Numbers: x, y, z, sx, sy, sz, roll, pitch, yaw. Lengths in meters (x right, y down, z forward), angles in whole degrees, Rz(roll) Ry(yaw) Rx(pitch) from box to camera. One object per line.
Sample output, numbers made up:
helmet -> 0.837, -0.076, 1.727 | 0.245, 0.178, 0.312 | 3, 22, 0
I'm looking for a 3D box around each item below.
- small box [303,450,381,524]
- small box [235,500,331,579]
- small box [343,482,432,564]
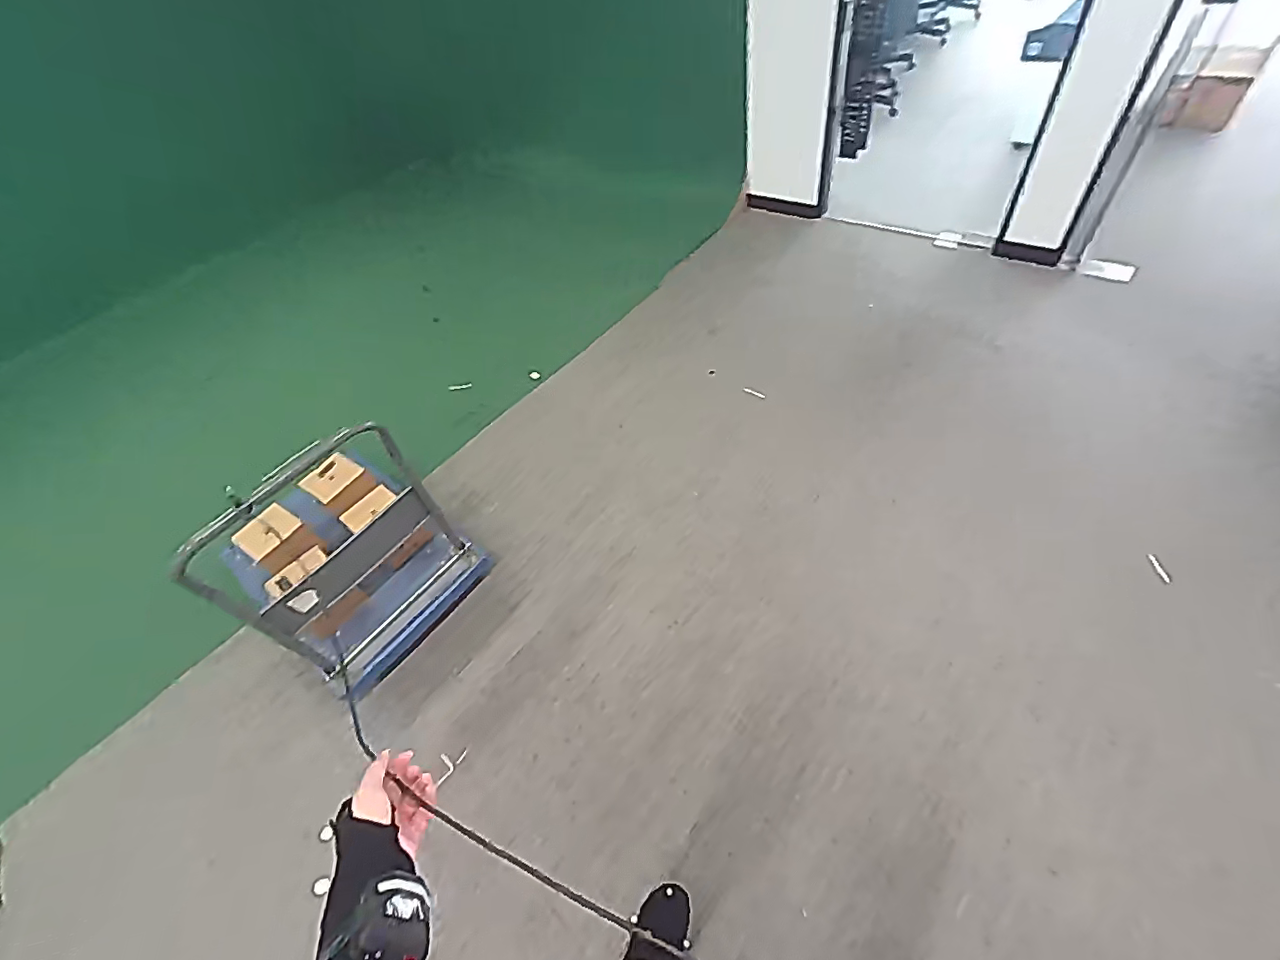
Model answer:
small box -> -1.030, 0.030, 1.905 | 0.179, 0.176, 0.168 | 26, 61, 26
small box -> -1.173, 0.203, 1.792 | 0.179, 0.176, 0.168 | 25, 59, 27
small box -> -0.822, 0.145, 1.776 | 0.179, 0.176, 0.168 | 31, 62, 28
